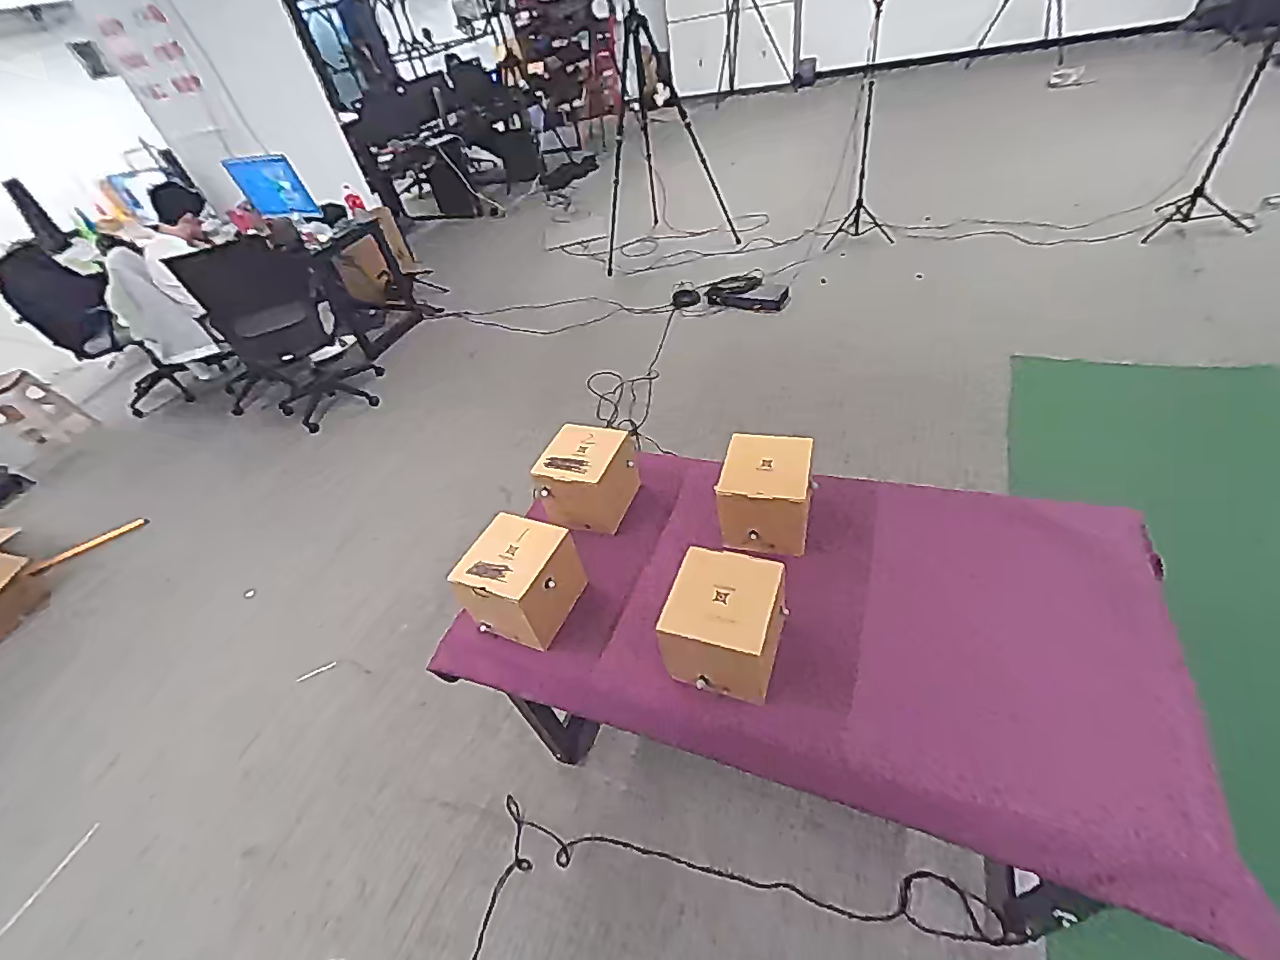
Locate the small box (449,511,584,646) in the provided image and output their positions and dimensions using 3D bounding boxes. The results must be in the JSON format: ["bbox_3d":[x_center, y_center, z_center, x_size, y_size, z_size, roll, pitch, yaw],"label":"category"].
[{"bbox_3d":[-0.227,0.193,1.050,0.168,0.176,0.179,12,47,24],"label":"small box"}]

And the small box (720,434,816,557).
[{"bbox_3d":[0.262,0.030,1.108,0.168,0.176,0.179,6,48,19],"label":"small box"}]

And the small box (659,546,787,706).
[{"bbox_3d":[0.145,0.243,0.912,0.168,0.176,0.179,9,47,23],"label":"small box"}]
